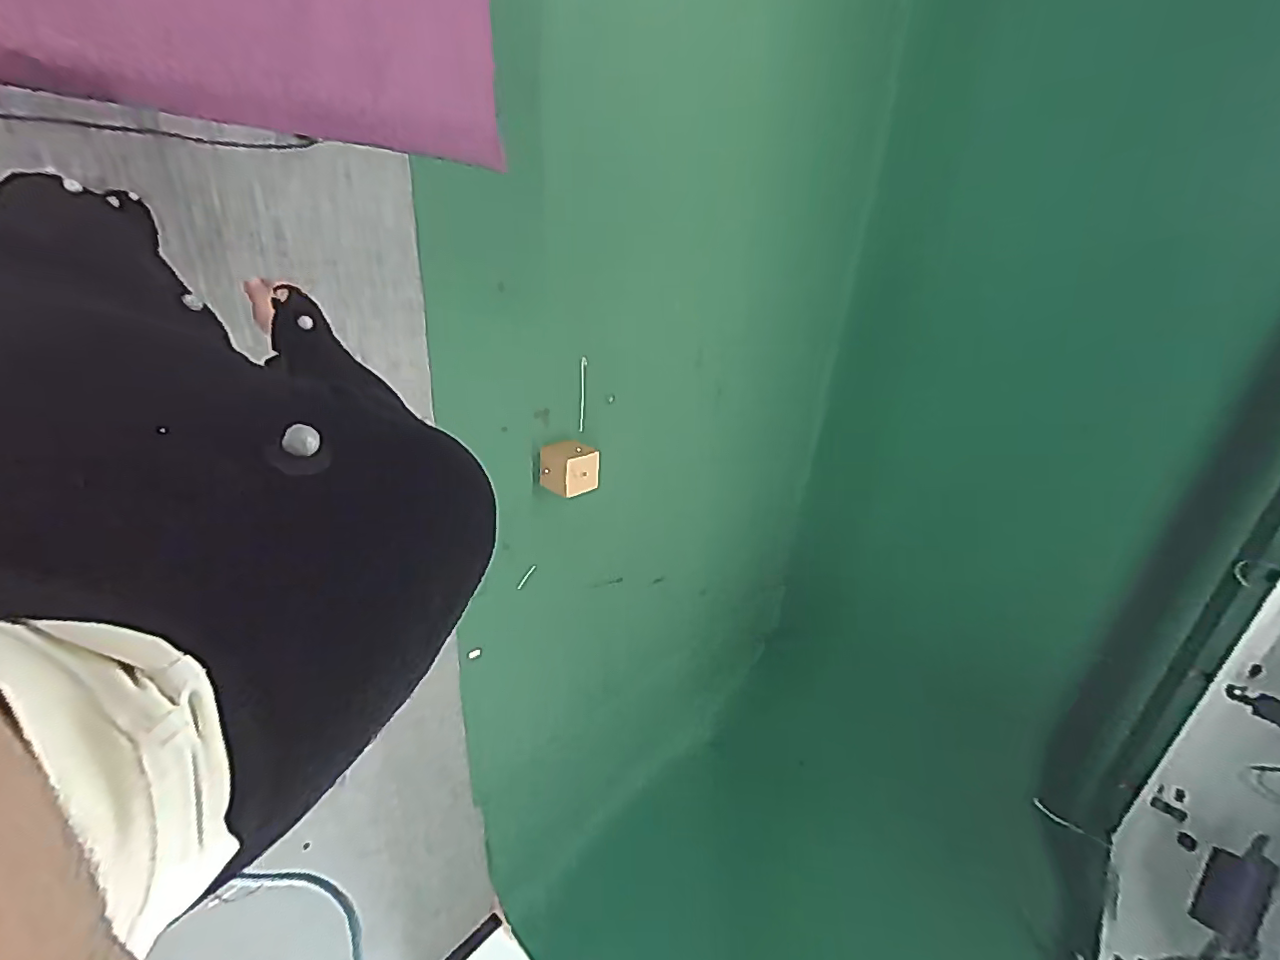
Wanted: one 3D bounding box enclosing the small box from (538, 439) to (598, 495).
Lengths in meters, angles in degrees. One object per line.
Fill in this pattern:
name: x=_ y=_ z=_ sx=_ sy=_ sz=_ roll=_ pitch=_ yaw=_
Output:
small box: x=-0.295 y=-0.059 z=2.214 sx=0.179 sy=0.176 sz=0.168 roll=-20 pitch=123 yaw=-45
